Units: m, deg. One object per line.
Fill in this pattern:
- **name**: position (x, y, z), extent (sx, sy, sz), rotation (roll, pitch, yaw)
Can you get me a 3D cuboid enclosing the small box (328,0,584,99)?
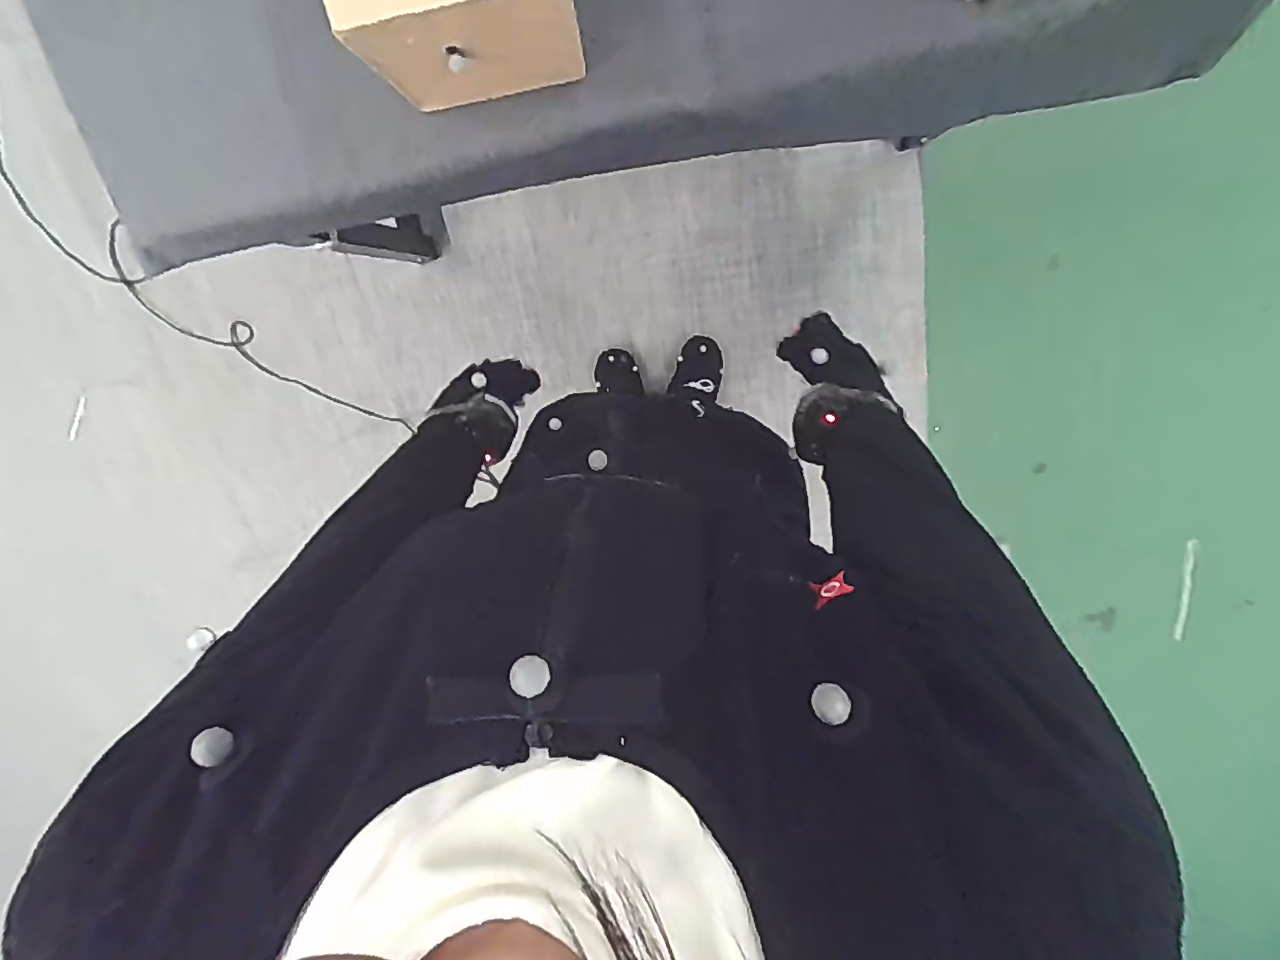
- **small box**: position (-0.158, -0.461, 0.462), extent (0.179, 0.176, 0.168), rotation (-8, 106, 5)
